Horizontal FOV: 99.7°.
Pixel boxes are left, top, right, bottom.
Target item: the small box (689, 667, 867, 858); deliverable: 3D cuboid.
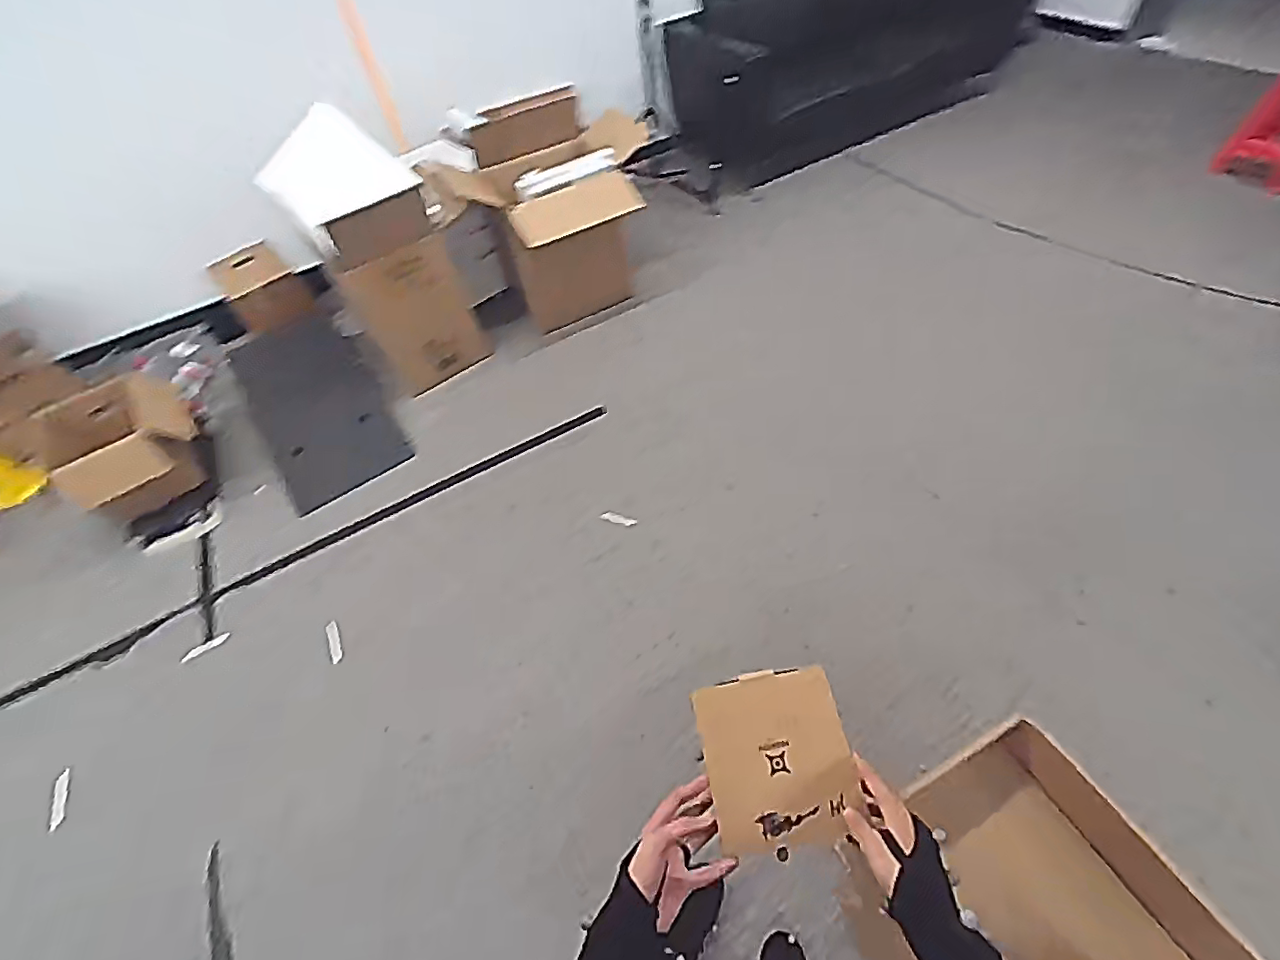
[{"bbox_3d":[0.157,0.354,0.687,0.168,0.176,0.179,-11,61,1],"label":"small box"}]
